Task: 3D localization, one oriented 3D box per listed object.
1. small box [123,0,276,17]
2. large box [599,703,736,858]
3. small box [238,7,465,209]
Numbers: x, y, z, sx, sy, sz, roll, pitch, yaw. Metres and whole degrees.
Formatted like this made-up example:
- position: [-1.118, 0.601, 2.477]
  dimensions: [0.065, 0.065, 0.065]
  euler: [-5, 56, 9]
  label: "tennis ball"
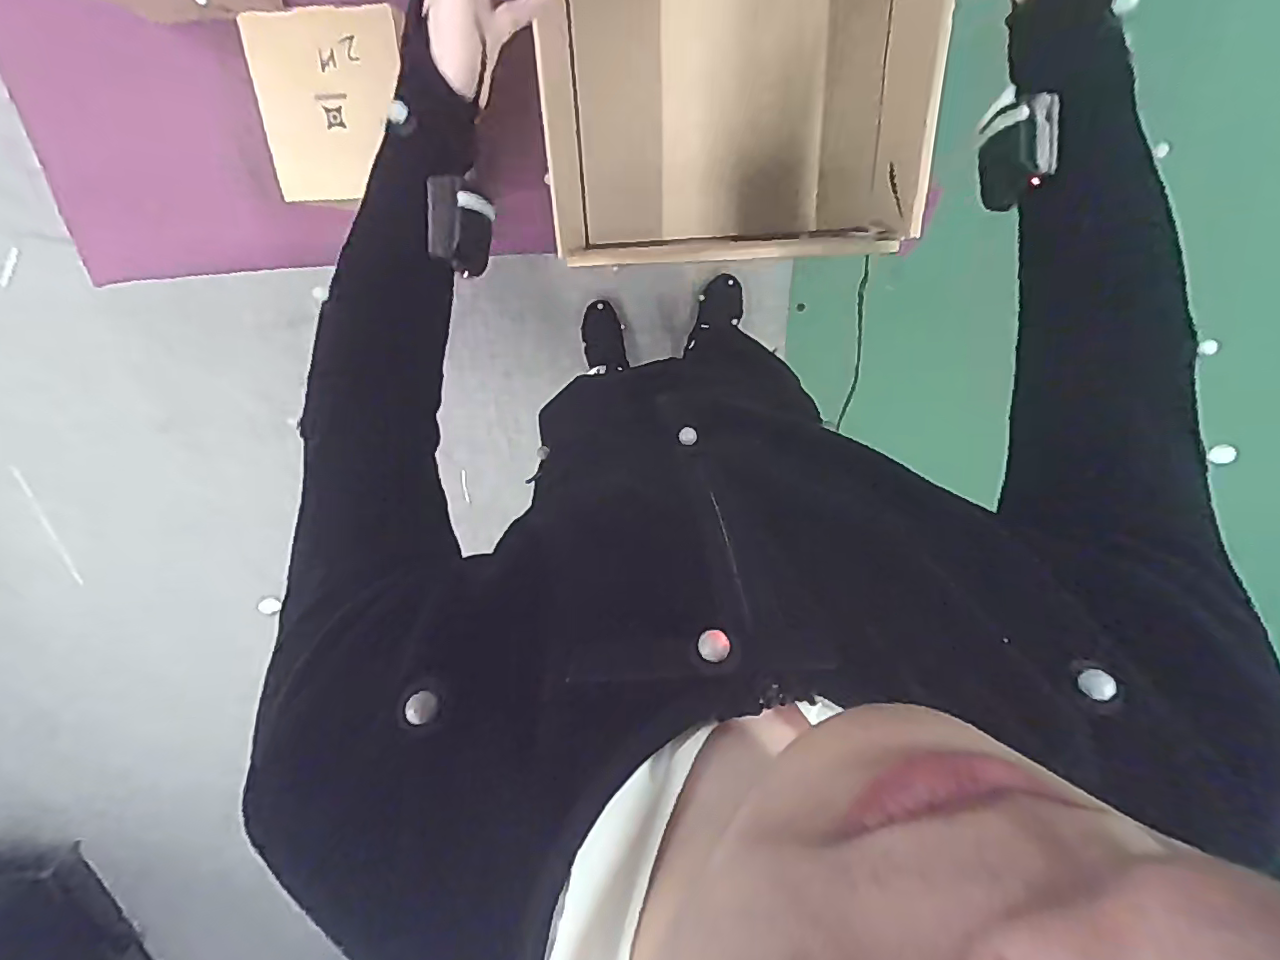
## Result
- position: [-0.537, -0.631, 0.579]
  dimensions: [0.168, 0.176, 0.179]
  euler: [-1, 114, 2]
  label: "small box"
- position: [0.100, 1.137, 2.059]
  dimensions: [0.408, 0.320, 0.320]
  euler: [-32, 110, 15]
  label: "large box"
- position: [-0.326, -0.429, 0.655]
  dimensions: [0.168, 0.176, 0.179]
  euler: [0, 113, 2]
  label: "small box"
